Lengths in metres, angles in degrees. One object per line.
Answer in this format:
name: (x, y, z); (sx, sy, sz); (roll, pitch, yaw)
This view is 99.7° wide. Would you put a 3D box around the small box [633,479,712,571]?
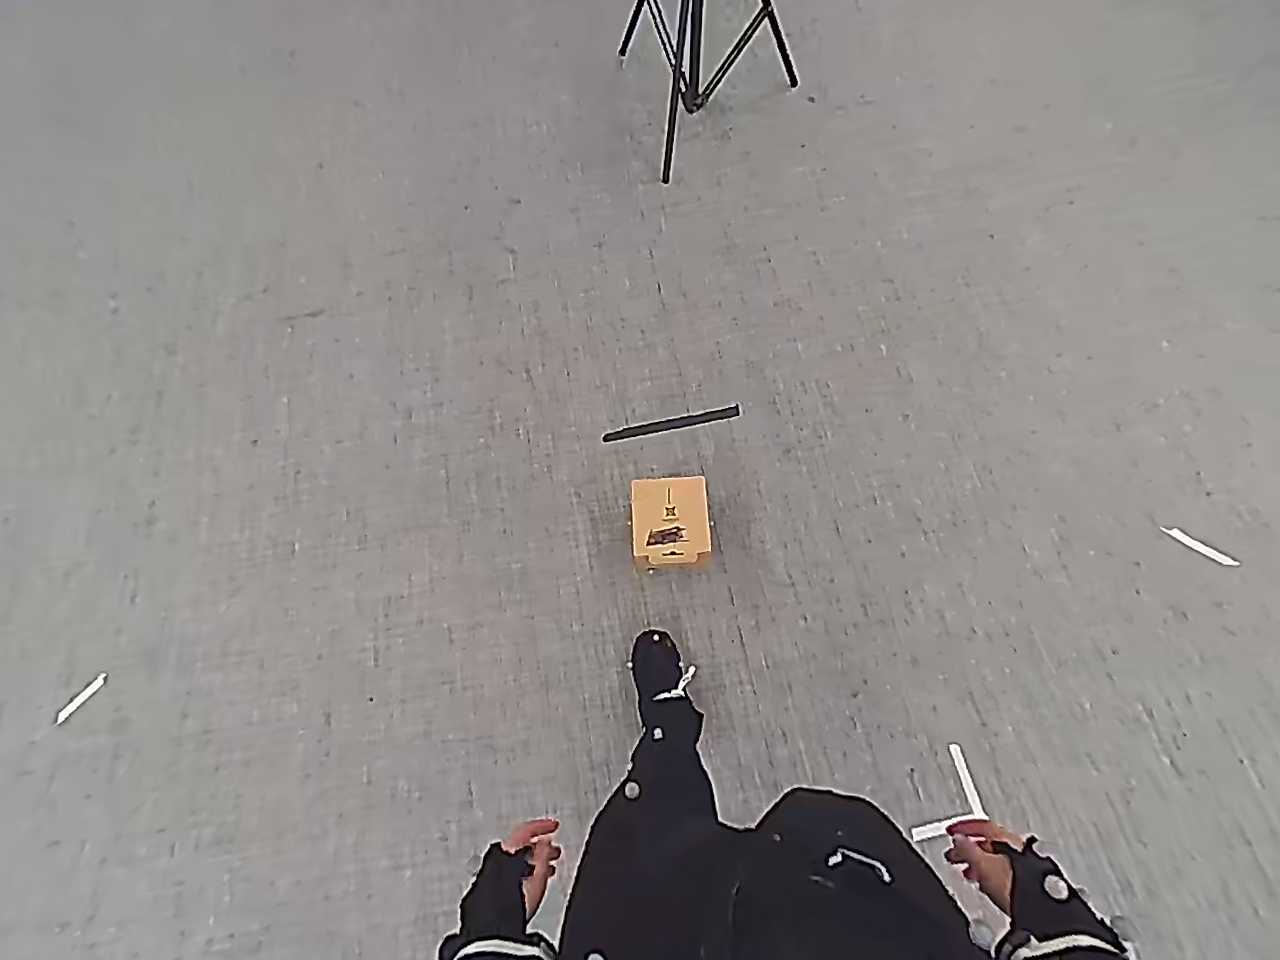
small box: (0.073, 0.110, 1.236); (0.168, 0.176, 0.179); (-3, 70, 2)
